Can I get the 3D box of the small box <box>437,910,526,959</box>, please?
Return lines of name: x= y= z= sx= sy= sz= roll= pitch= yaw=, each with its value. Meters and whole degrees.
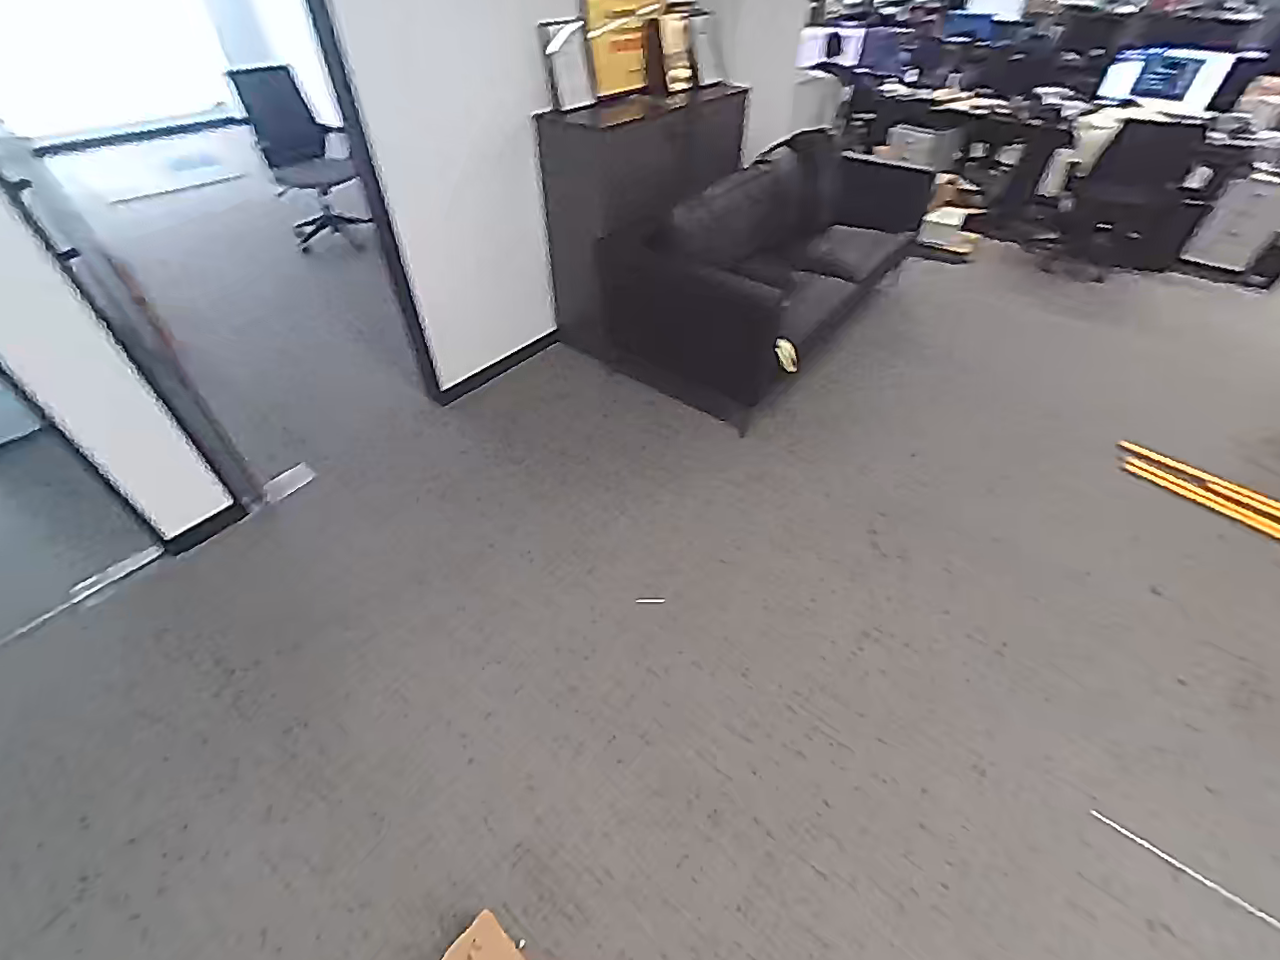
small box: x=-0.320 y=1.034 z=1.103 sx=0.179 sy=0.176 sz=0.168 roll=32 pitch=51 yaw=28
